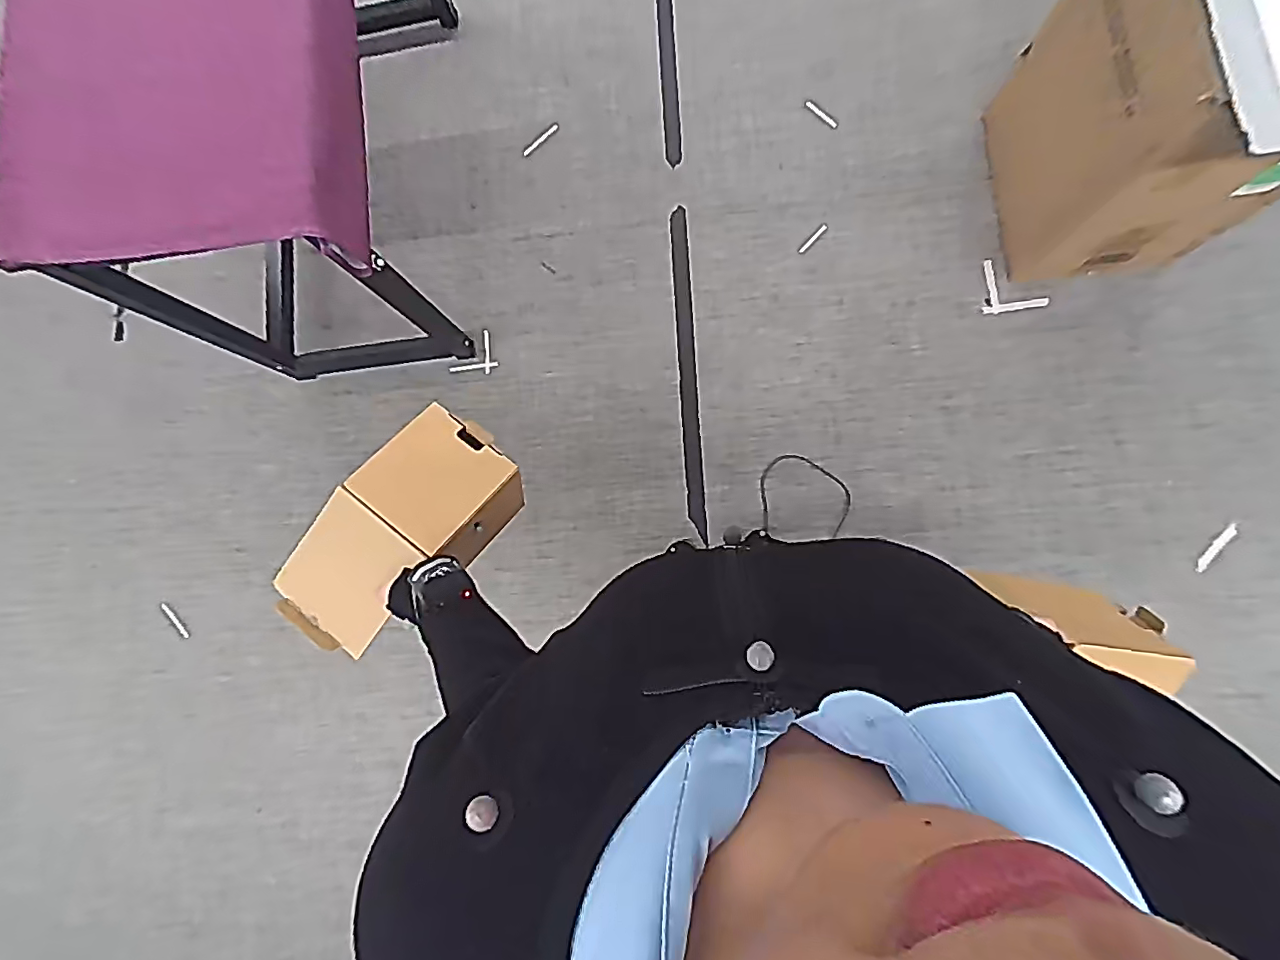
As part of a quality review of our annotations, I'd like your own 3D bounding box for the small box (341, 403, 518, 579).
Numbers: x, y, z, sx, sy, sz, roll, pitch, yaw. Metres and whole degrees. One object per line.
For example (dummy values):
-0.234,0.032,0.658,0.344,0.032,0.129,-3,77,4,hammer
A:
-0.298,0.026,0.816,0.168,0.176,0.179,37,67,6,small box
